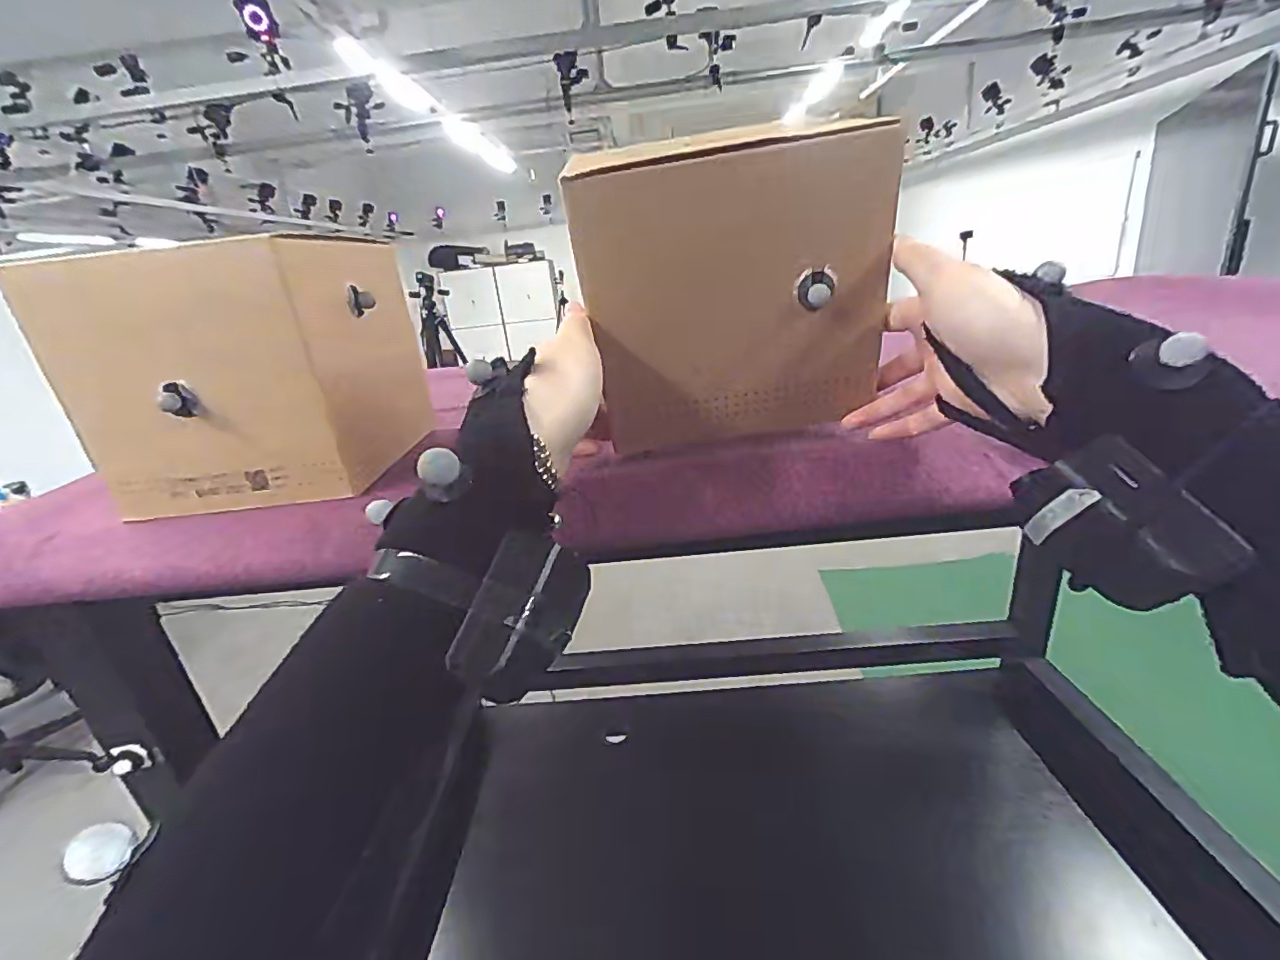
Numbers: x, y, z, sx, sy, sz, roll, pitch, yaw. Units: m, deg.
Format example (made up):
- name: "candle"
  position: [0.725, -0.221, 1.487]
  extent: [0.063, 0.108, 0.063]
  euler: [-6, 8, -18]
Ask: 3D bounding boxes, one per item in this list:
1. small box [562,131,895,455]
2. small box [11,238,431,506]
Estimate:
- name: "small box"
  position: [0.052, -0.136, 0.385]
  extent: [0.179, 0.176, 0.168]
  euler: [-9, 32, 2]
- name: "small box"
  position: [-0.283, -0.085, 0.422]
  extent: [0.168, 0.176, 0.179]
  euler: [-5, 21, 1]
